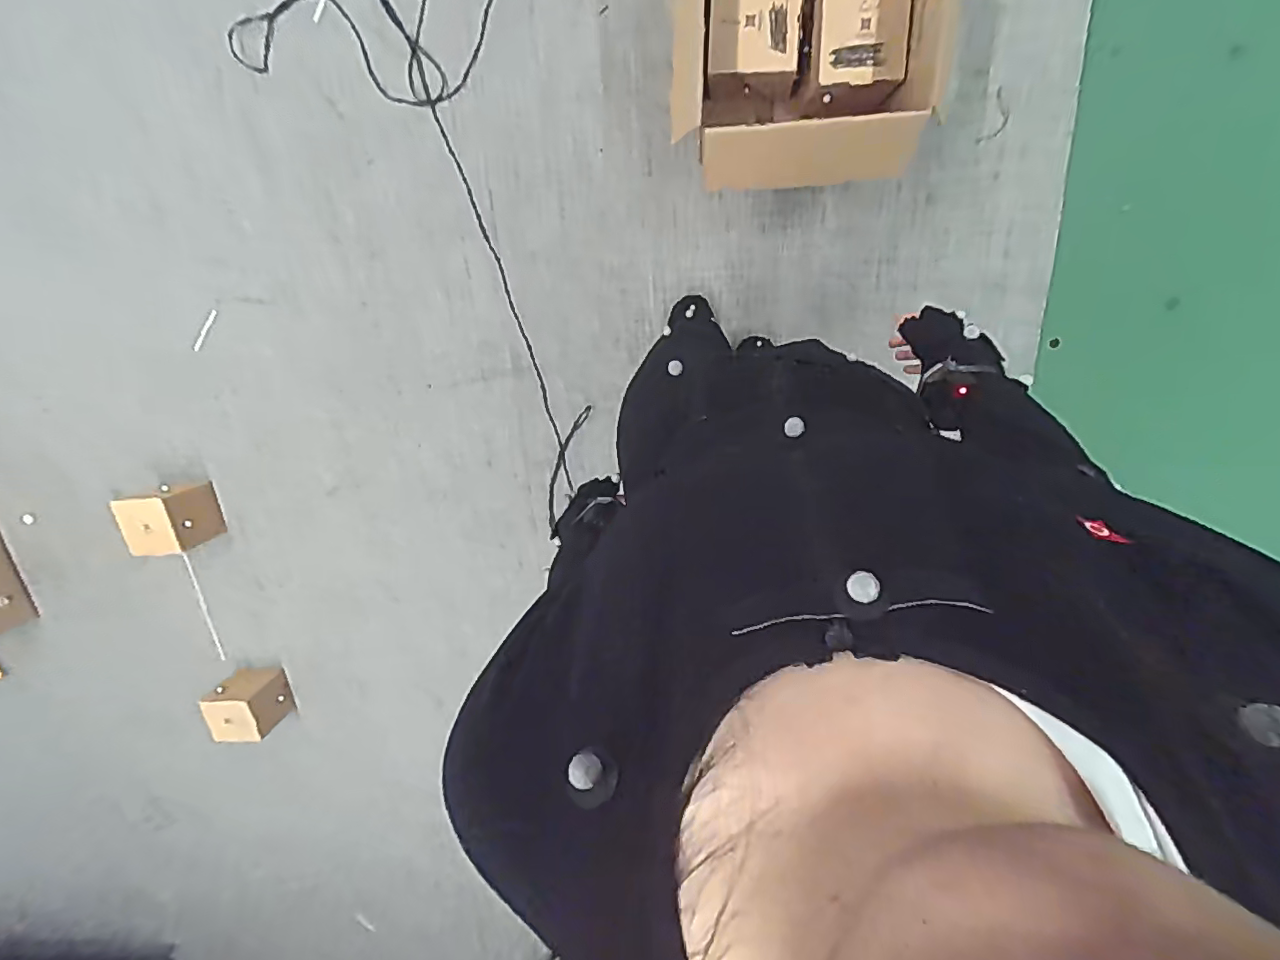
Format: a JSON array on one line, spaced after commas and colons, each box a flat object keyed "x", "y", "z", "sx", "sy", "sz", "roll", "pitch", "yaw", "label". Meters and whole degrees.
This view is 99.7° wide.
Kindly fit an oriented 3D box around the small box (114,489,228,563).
[{"x": -1.394, "y": 0.131, "z": 1.620, "sx": 0.168, "sy": 0.176, "sz": 0.179, "roll": -3, "pitch": 108, "yaw": 6, "label": "small box"}]

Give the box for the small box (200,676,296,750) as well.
[{"x": -1.316, "y": 0.780, "z": 1.825, "sx": 0.179, "sy": 0.176, "sz": 0.168, "roll": -3, "pitch": 108, "yaw": 7, "label": "small box"}]
